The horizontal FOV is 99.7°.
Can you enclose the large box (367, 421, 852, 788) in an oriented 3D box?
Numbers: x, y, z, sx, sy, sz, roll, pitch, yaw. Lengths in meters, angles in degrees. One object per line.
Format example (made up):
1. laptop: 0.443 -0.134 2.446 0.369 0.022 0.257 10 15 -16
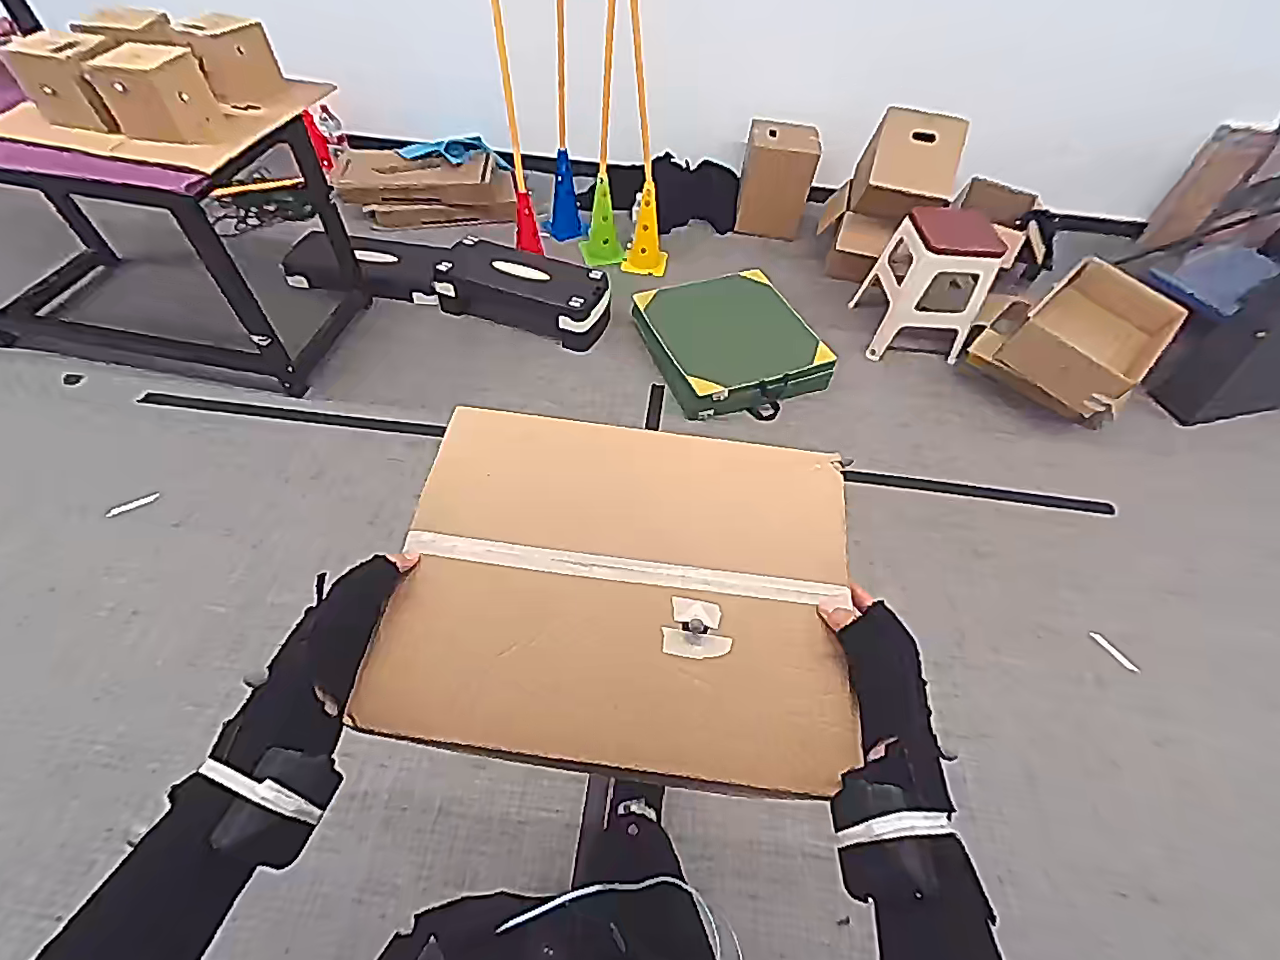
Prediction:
1. large box: -0.018 0.162 0.636 0.408 0.320 0.320 8 61 1
